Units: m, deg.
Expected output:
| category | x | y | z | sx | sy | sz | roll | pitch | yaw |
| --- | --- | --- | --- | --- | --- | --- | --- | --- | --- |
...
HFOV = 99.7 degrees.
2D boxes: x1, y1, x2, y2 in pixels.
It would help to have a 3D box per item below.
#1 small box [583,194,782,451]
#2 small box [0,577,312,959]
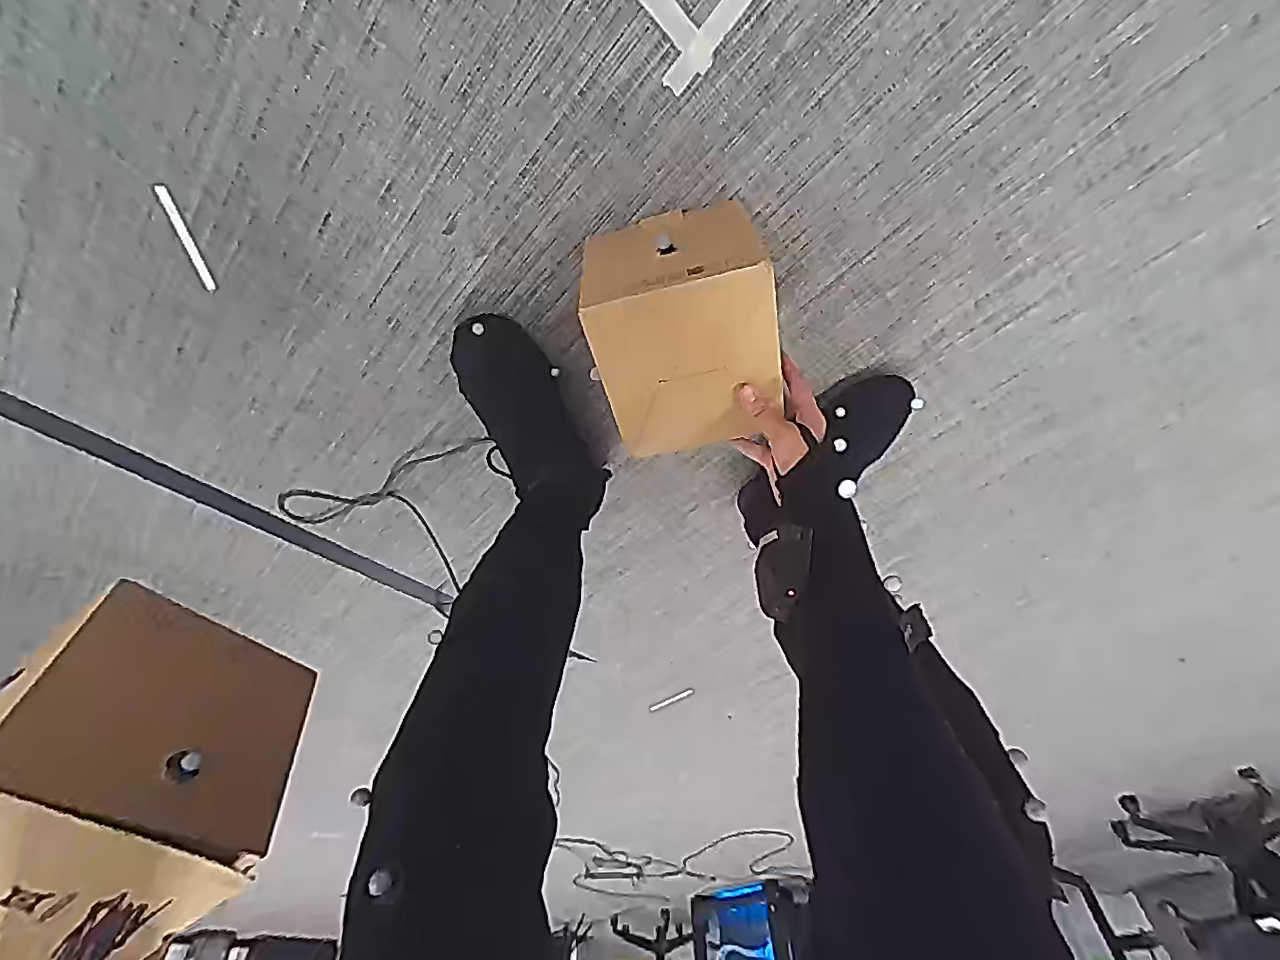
| category | x | y | z | sx | sy | sz | roll | pitch | yaw |
| --- | --- | --- | --- | --- | --- | --- | --- | --- | --- |
| small box | 0.045 | -0.159 | 0.560 | 0.168 | 0.176 | 0.179 | -11 | 133 | 9 |
| small box | -0.390 | 0.207 | 0.406 | 0.168 | 0.176 | 0.179 | -37 | 122 | 5 |
